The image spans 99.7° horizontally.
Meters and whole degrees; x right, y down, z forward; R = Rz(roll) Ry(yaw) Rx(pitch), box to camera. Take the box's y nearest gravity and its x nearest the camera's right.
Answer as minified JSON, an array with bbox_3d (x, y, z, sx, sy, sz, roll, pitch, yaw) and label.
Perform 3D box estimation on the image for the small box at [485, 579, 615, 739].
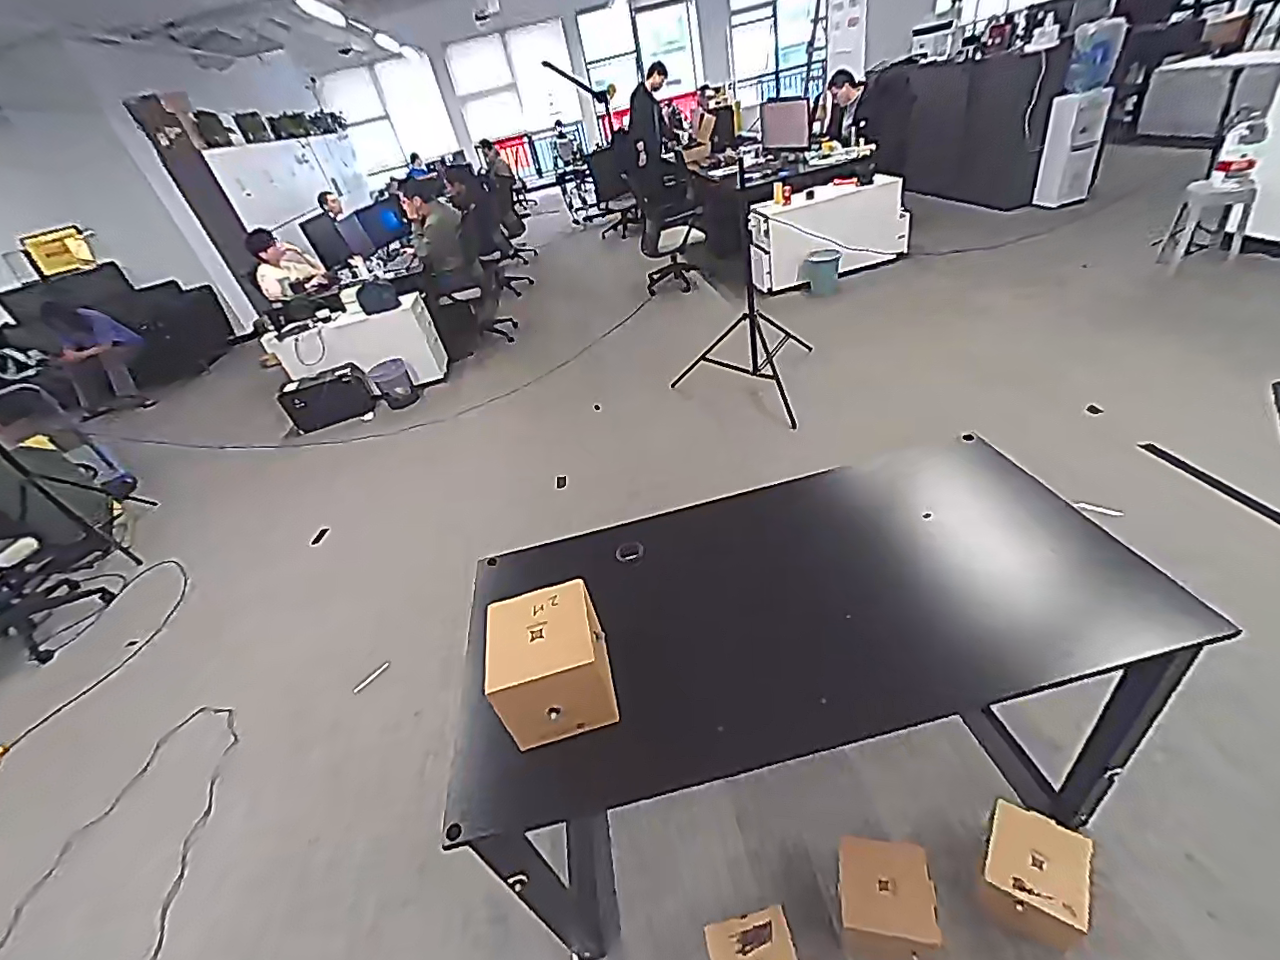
[{"bbox_3d":[-0.146,0.301,0.895,0.168,0.176,0.179,-16,35,-3],"label":"small box"}]

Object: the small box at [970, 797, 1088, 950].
[{"bbox_3d":[0.804,0.816,1.126,0.168,0.176,0.179,14,44,33],"label":"small box"}]

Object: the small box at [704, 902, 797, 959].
[{"bbox_3d":[0.235,0.995,1.083,0.168,0.176,0.179,-16,37,-1],"label":"small box"}]

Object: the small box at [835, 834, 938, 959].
[{"bbox_3d":[0.509,0.883,1.142,0.179,0.176,0.168,-3,37,17],"label":"small box"}]
